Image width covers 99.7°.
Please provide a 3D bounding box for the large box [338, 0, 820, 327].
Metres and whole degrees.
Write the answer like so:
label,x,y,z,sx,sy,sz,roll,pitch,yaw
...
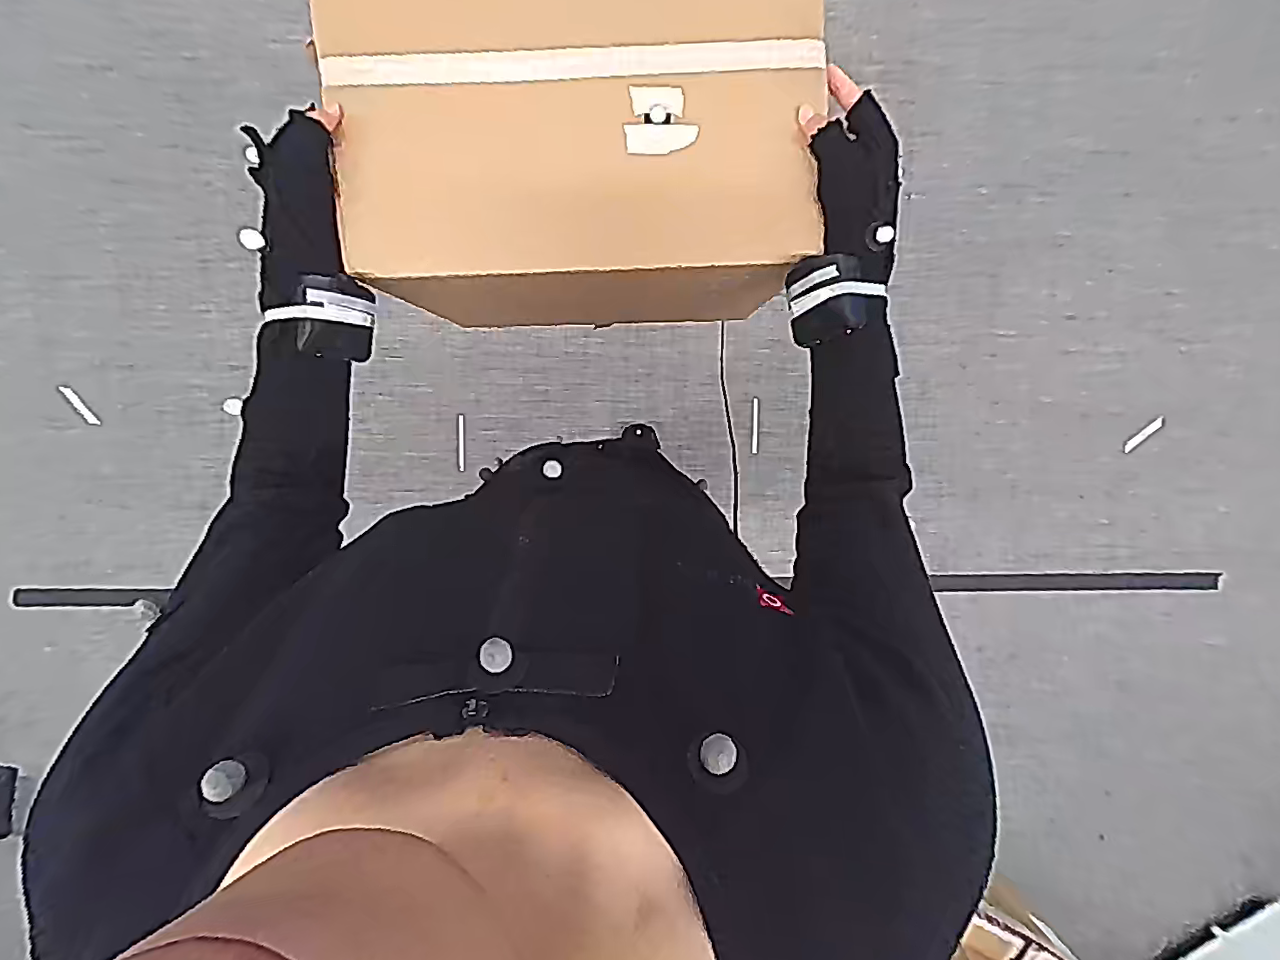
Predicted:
label,x,y,z,sx,sy,sz,roll,pitch,yaw
large box,-0.052,-0.358,0.601,0.408,0.320,0.320,-2,99,-1
